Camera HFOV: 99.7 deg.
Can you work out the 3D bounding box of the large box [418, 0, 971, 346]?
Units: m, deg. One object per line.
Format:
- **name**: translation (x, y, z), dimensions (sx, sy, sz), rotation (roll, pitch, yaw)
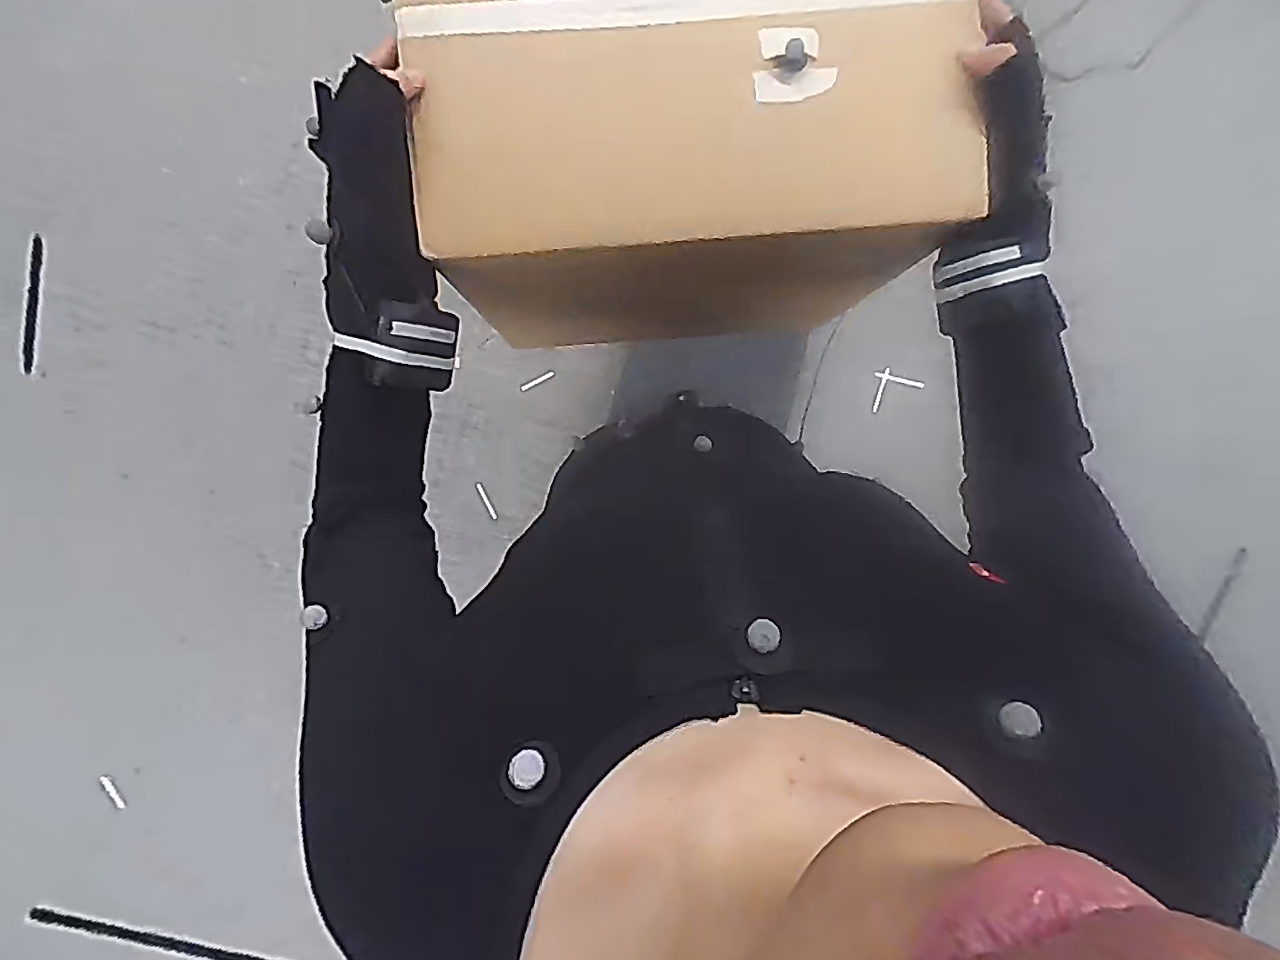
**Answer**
- **large box**: translation (0.033, -0.337, 0.545), dimensions (0.408, 0.320, 0.320), rotation (-5, 92, -2)
